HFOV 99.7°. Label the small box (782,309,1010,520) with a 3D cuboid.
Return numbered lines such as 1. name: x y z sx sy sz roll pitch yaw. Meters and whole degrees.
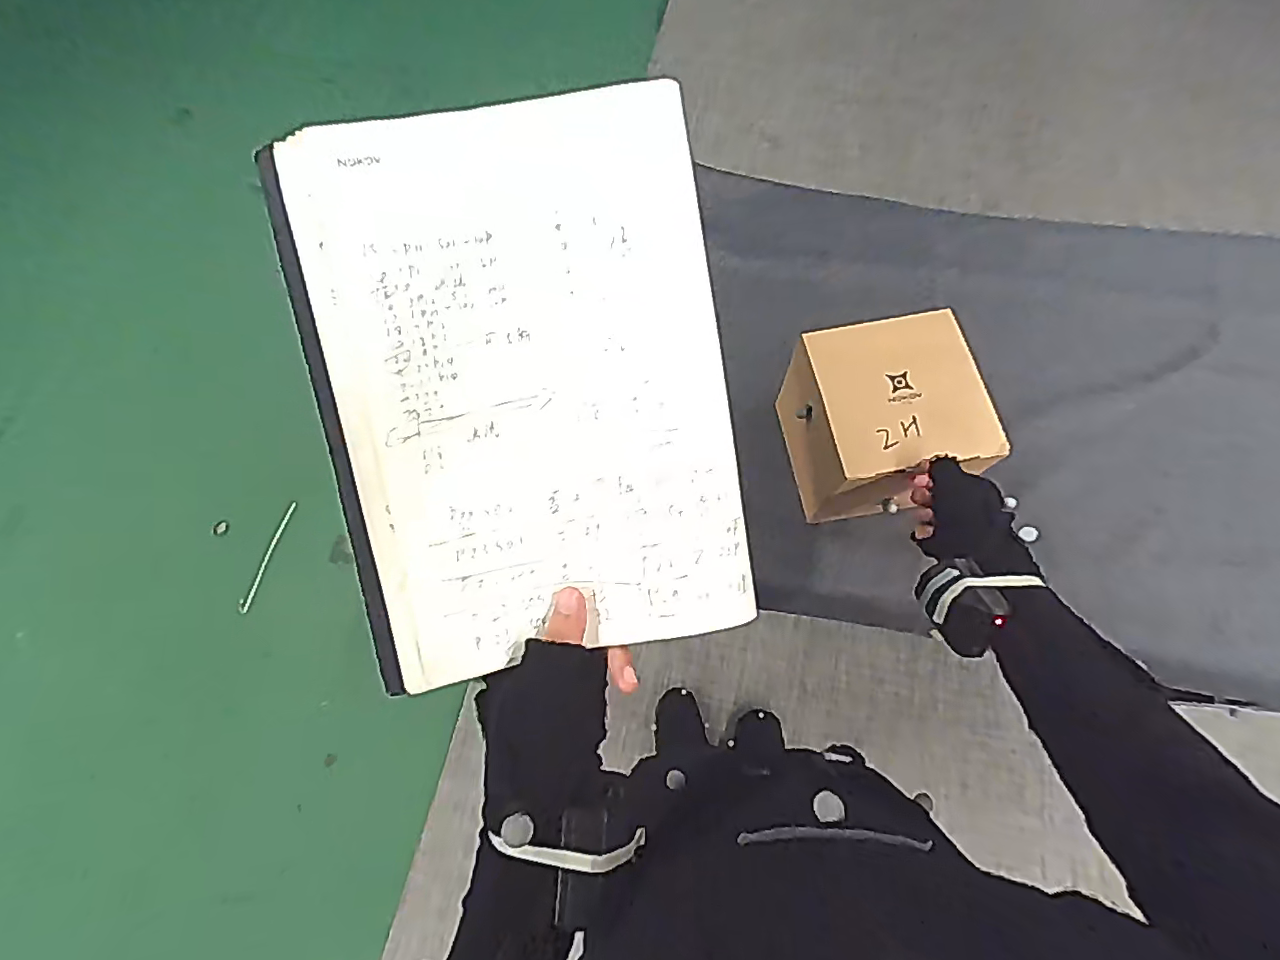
1. small box: 0.277 -0.068 0.635 0.168 0.176 0.179 -9 70 1
